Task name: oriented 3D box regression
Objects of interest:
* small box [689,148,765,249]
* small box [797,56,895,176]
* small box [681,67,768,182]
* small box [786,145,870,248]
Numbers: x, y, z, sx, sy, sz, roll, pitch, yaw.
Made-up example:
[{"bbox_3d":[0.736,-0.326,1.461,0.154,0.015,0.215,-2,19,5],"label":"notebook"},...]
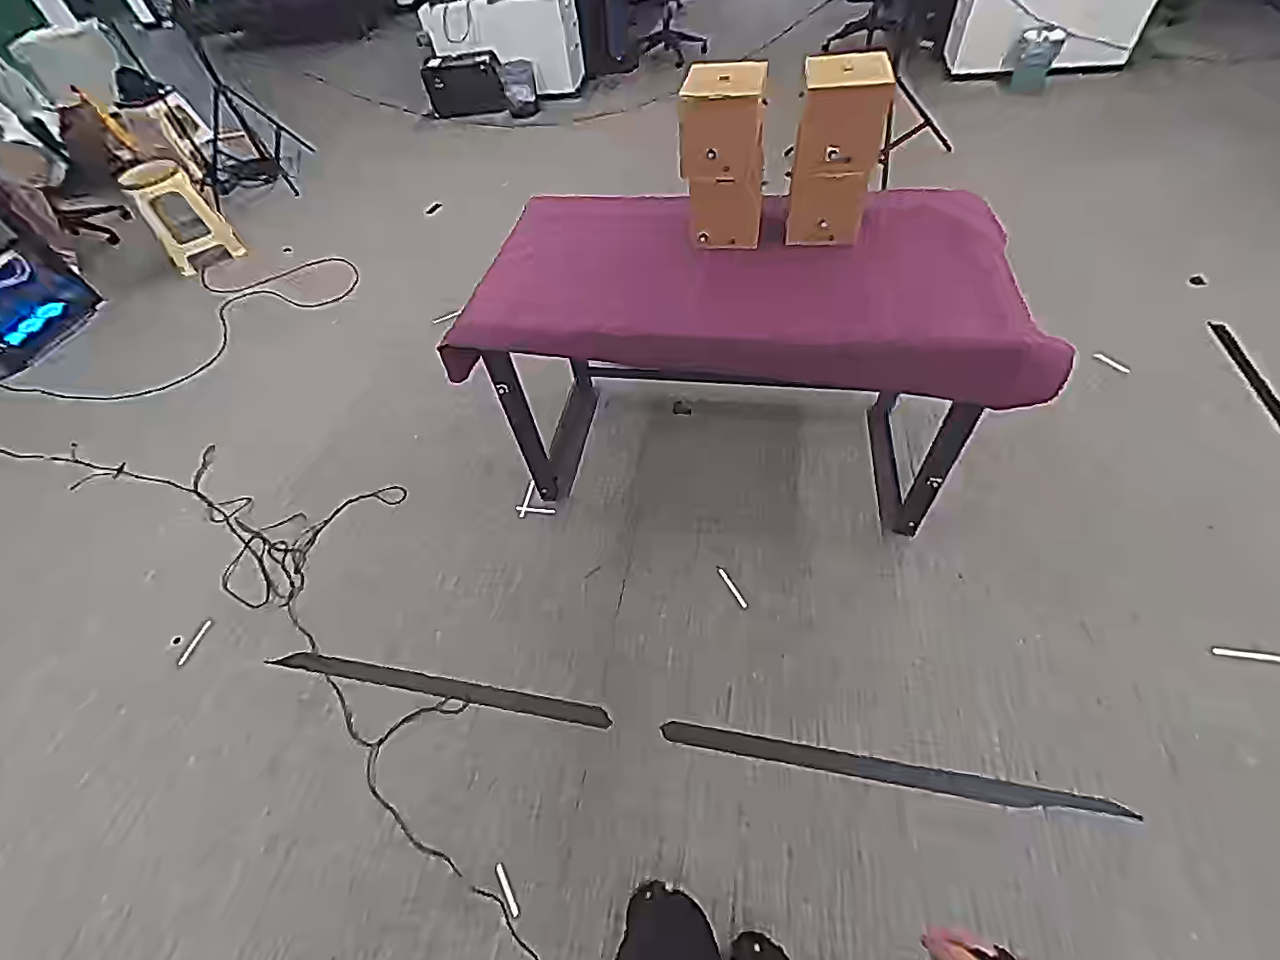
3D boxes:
[{"bbox_3d":[0.215,-0.688,1.330,0.168,0.176,0.179,5,54,11],"label":"small box"},{"bbox_3d":[0.435,-0.784,1.171,0.168,0.176,0.179,3,55,10],"label":"small box"},{"bbox_3d":[0.187,-0.791,1.206,0.168,0.176,0.179,7,56,12],"label":"small box"},{"bbox_3d":[0.445,-0.683,1.299,0.168,0.176,0.179,5,55,12],"label":"small box"}]
